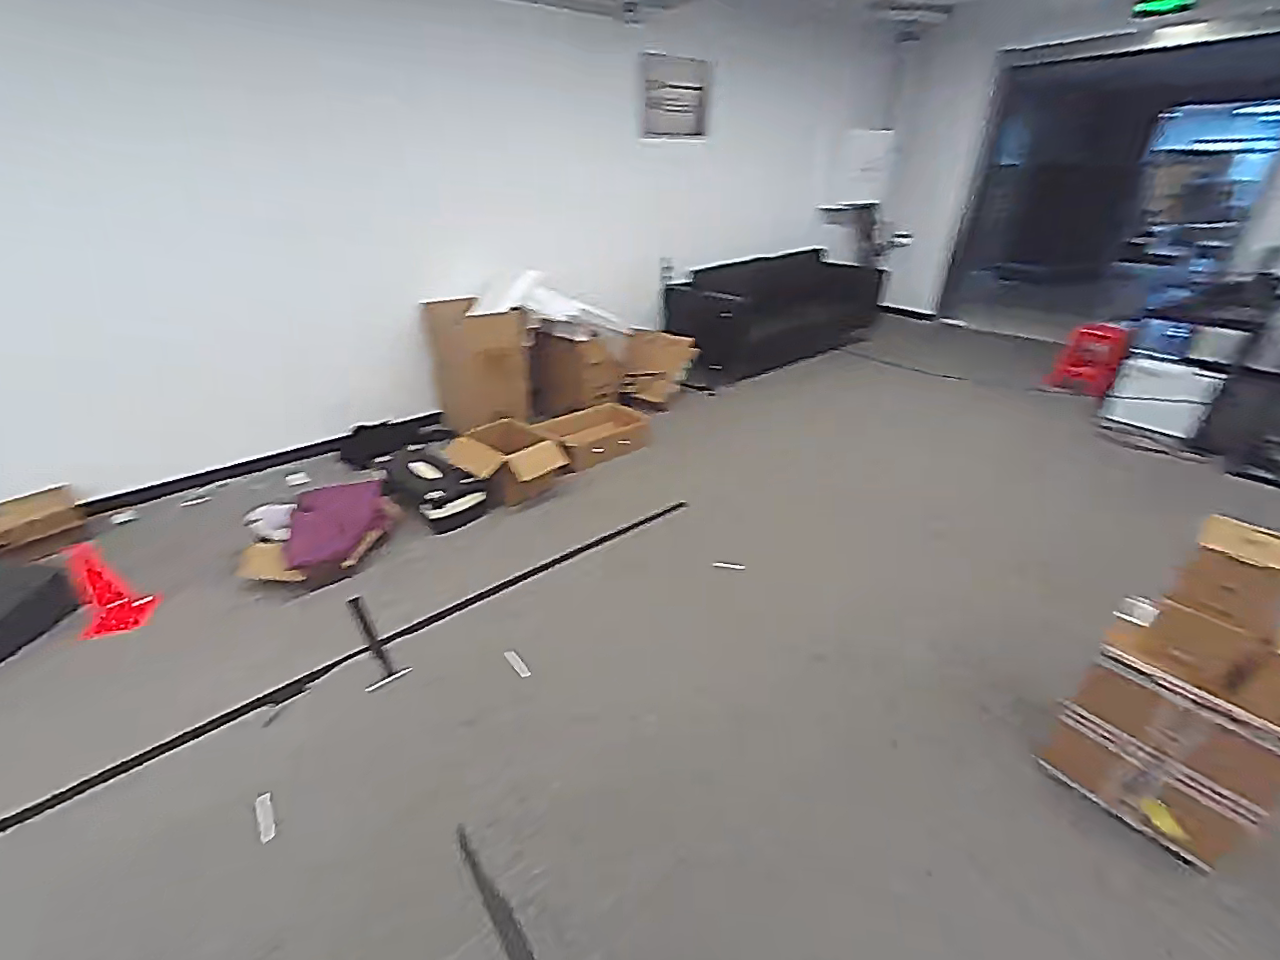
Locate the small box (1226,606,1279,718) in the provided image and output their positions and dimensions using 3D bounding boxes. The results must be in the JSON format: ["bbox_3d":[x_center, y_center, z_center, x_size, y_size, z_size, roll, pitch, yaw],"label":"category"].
[{"bbox_3d":[1.462,0.420,1.195,0.179,0.176,0.168,-24,38,-32],"label":"small box"}]

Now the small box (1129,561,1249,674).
[{"bbox_3d":[1.363,0.337,1.340,0.179,0.176,0.168,-28,38,-33],"label":"small box"}]

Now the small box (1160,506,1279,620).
[{"bbox_3d":[1.366,0.193,1.262,0.179,0.176,0.168,-26,37,-31],"label":"small box"}]
